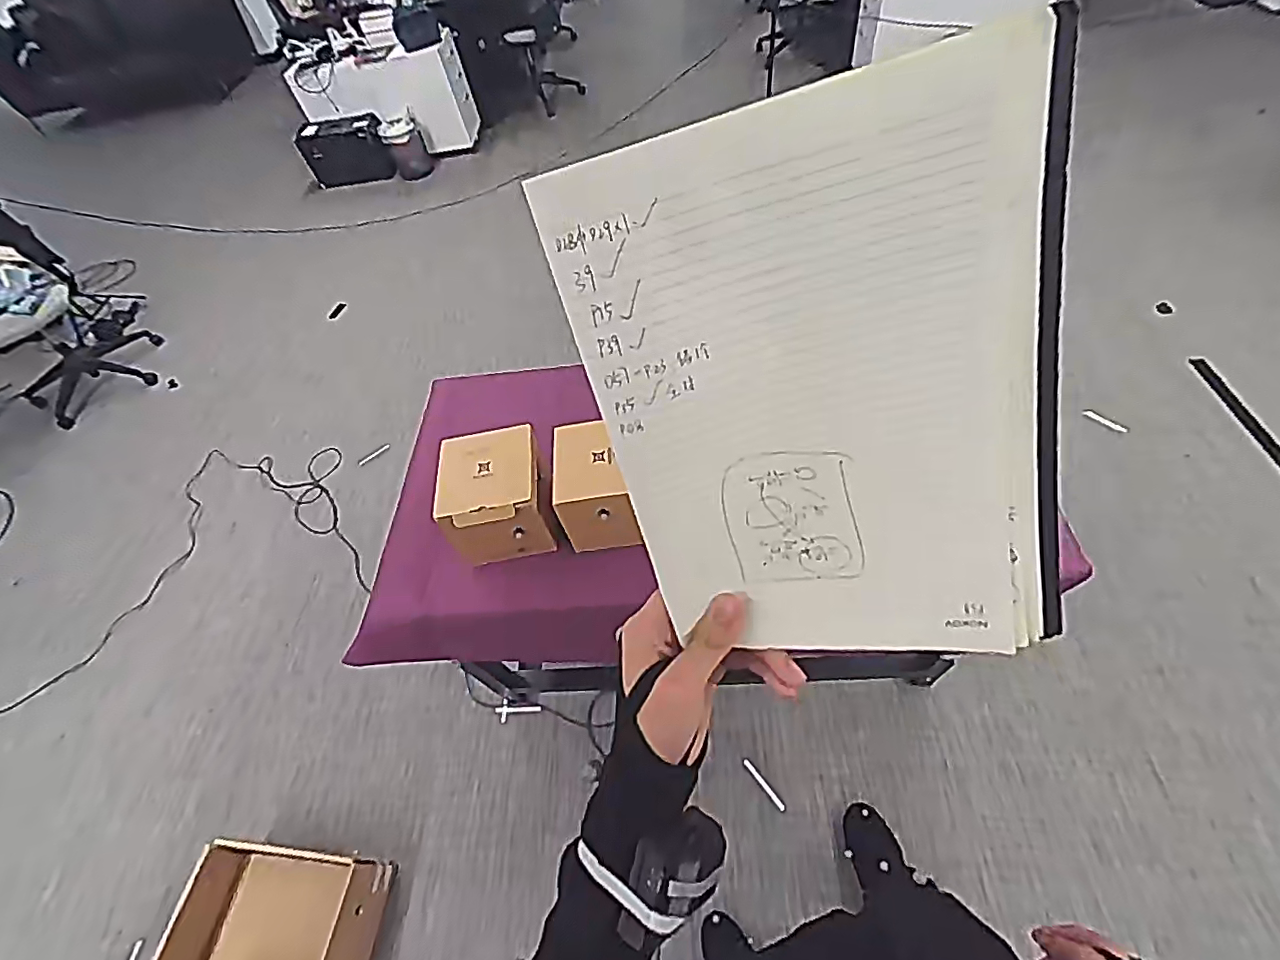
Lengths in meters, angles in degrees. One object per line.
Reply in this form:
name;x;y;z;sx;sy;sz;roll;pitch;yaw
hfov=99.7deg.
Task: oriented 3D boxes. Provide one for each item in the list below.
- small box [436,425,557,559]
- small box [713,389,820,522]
small box;-0.252;0.030;0.989;0.168;0.176;0.179;-11;53;1
small box;0.215;-0.035;0.952;0.168;0.176;0.179;-2;54;8
